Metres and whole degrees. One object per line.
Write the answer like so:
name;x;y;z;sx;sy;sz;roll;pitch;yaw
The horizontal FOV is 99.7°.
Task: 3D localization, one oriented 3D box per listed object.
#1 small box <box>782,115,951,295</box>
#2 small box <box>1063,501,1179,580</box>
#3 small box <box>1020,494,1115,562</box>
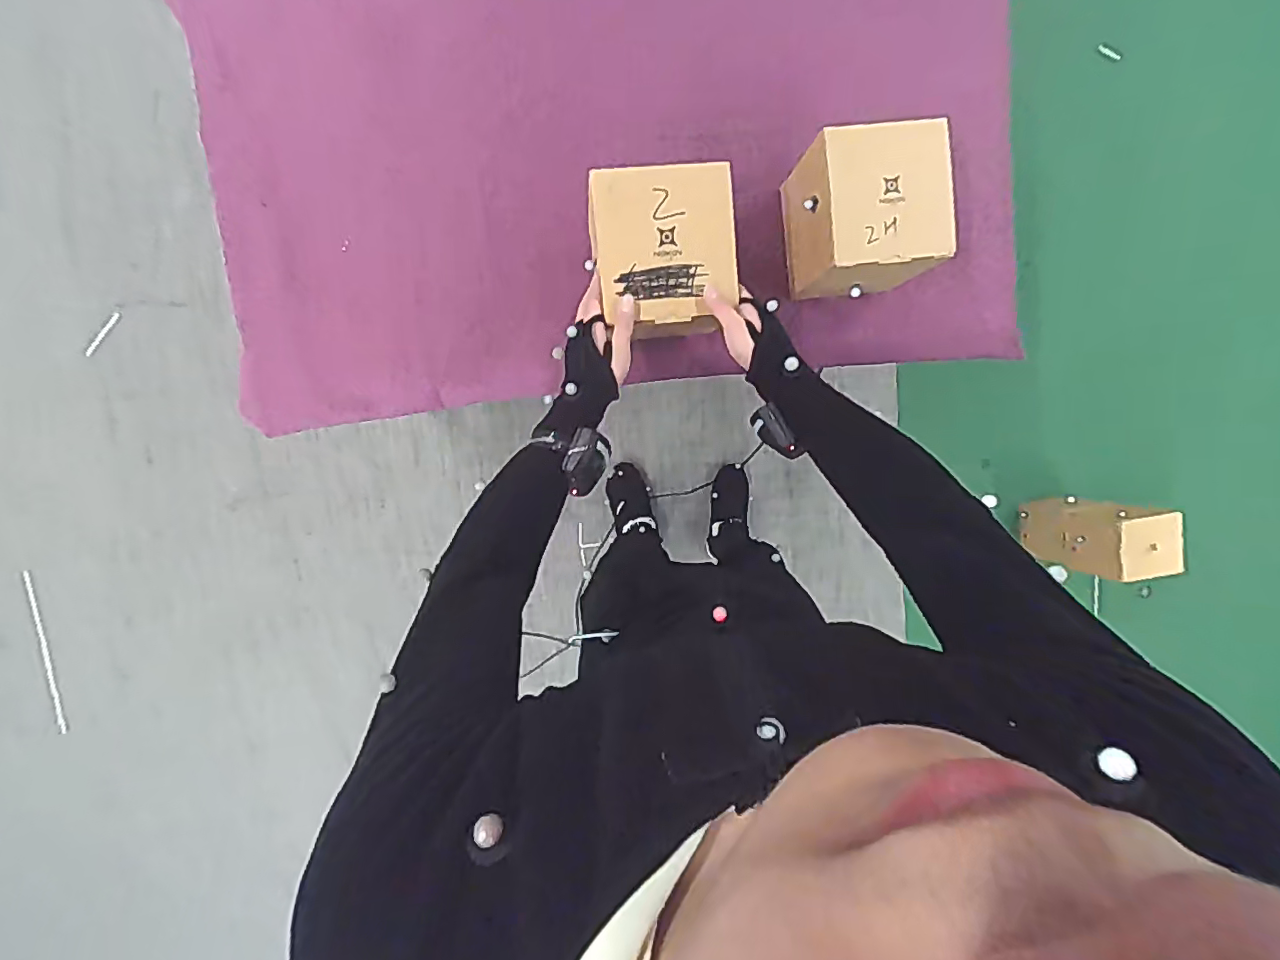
small box;0.311;-0.379;0.772;0.168;0.176;0.179;-6;96;-3
small box;1.314;0.158;1.482;0.179;0.176;0.168;-9;97;-4
small box;1.291;0.140;1.642;0.179;0.176;0.168;-8;96;-5
